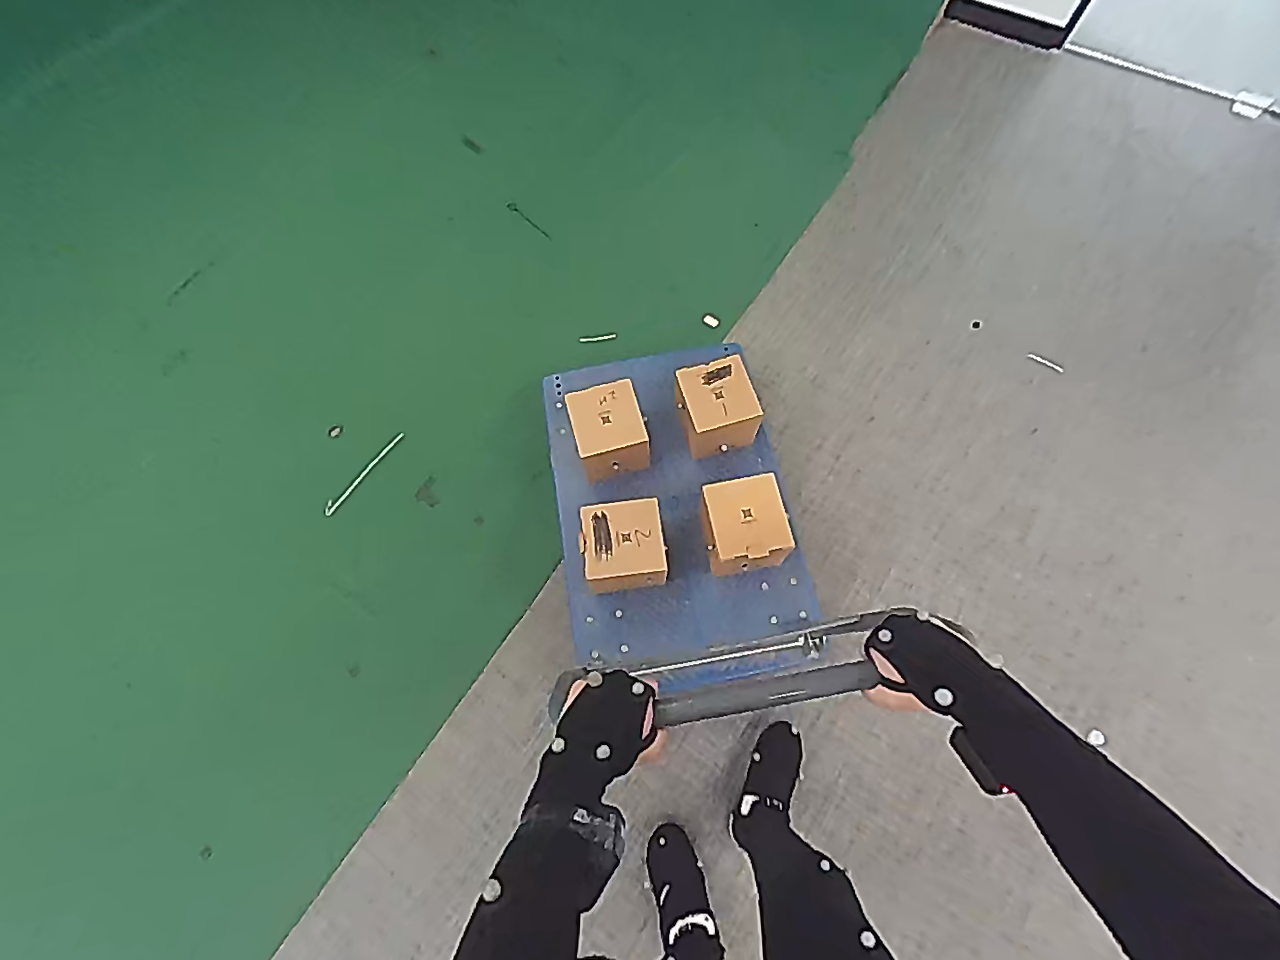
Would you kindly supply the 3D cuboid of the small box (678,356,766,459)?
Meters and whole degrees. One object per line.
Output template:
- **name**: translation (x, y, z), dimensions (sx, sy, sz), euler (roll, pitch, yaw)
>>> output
- **small box**: translation (0.196, -0.176, 1.354), dimensions (0.168, 0.176, 0.179), euler (-15, 70, -3)

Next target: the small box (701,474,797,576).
- **small box**: translation (0.241, 0.108, 1.245), dimensions (0.168, 0.176, 0.179), euler (-10, 70, -2)

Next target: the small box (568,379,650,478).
- **small box**: translation (-0.072, -0.118, 1.339), dimensions (0.168, 0.176, 0.179), euler (-14, 69, -4)
